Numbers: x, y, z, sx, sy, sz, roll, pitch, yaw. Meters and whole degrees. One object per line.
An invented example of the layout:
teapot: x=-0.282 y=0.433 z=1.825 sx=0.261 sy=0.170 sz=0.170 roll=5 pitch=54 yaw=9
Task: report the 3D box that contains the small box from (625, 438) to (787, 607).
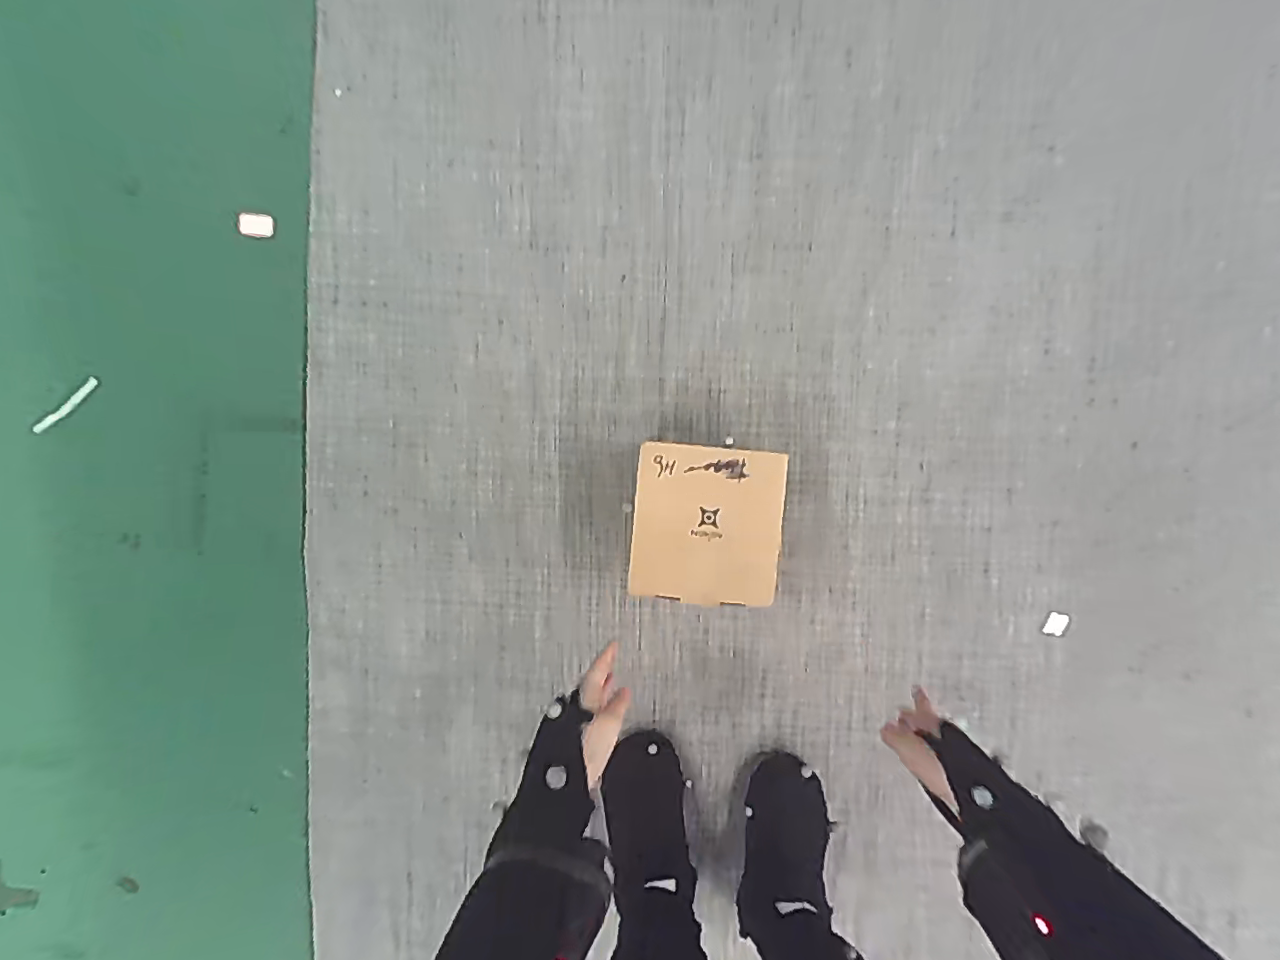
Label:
small box: x=0.075 y=0.043 z=0.675 sx=0.168 sy=0.176 sz=0.179 roll=5 pitch=93 yaw=1
